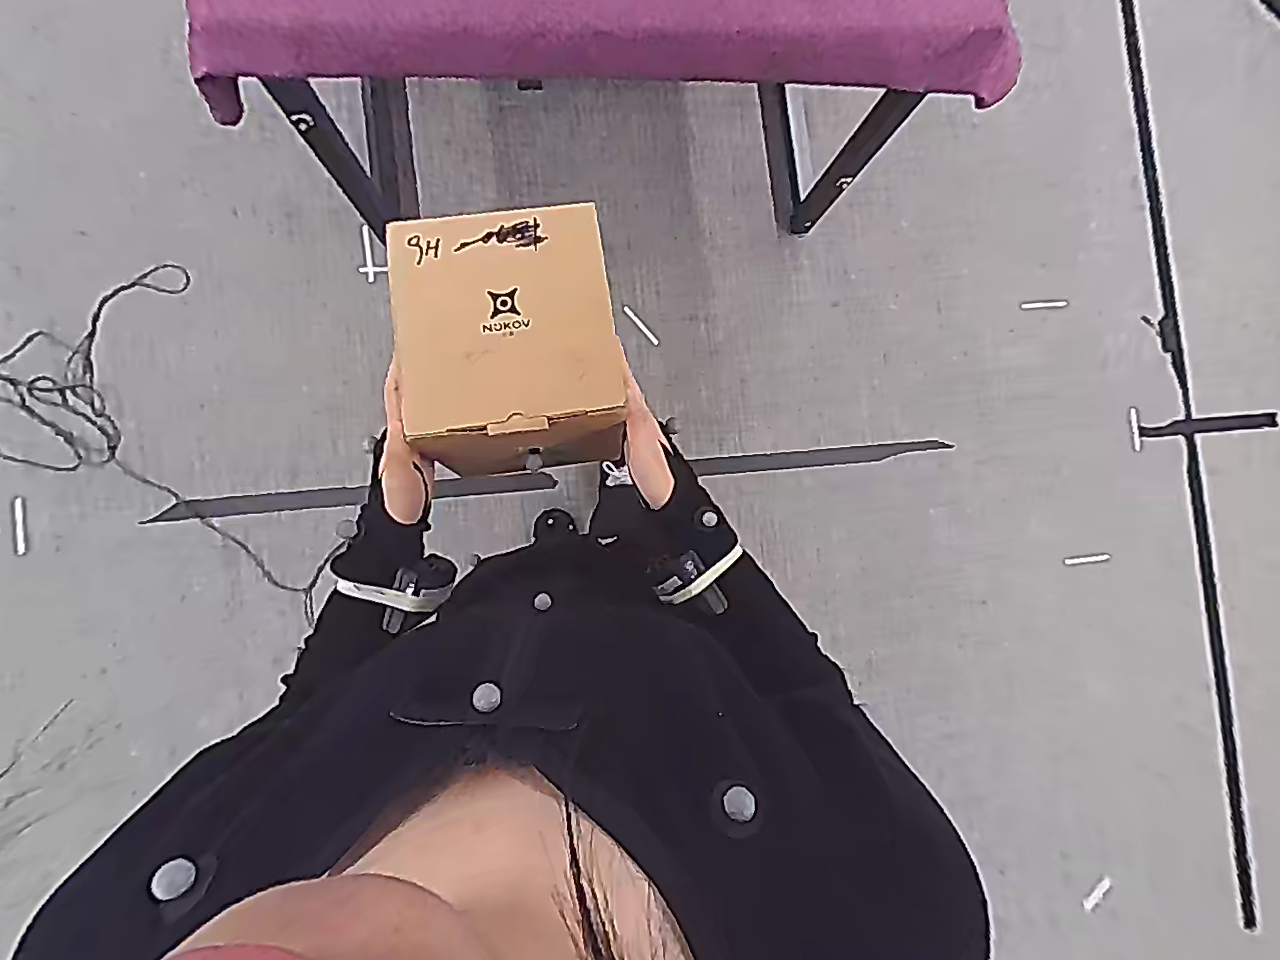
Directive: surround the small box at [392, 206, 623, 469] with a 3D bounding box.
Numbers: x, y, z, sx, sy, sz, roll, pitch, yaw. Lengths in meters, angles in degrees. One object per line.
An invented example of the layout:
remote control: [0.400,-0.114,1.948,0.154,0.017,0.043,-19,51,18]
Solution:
small box: [-0.105,-0.111,0.492,0.168,0.176,0.179,-8,81,-4]
